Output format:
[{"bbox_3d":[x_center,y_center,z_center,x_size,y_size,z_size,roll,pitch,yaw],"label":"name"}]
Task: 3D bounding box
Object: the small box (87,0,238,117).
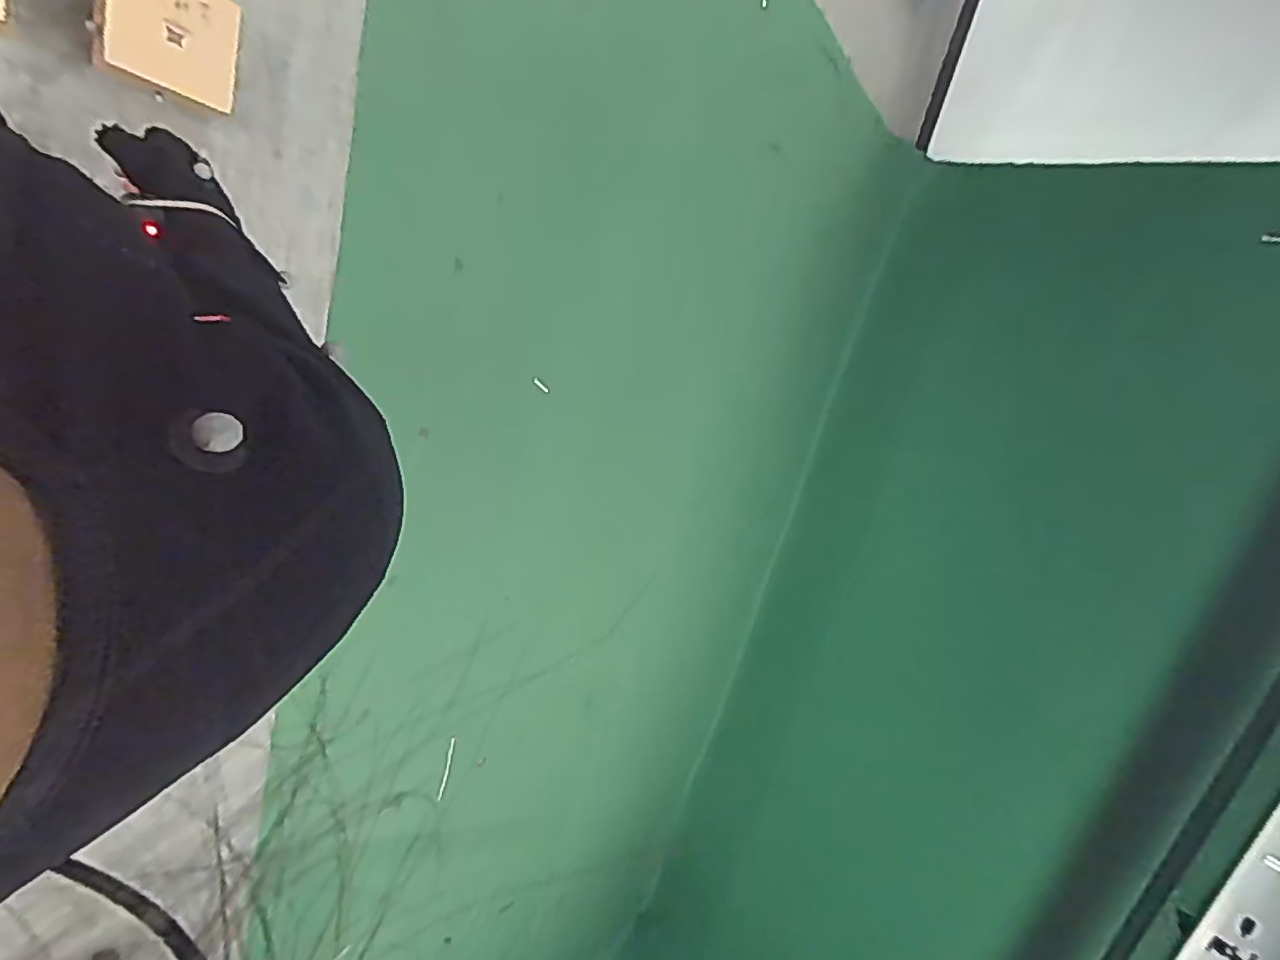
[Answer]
[{"bbox_3d":[-0.819,-0.754,0.925,0.168,0.176,0.179,0,110,-51],"label":"small box"}]
